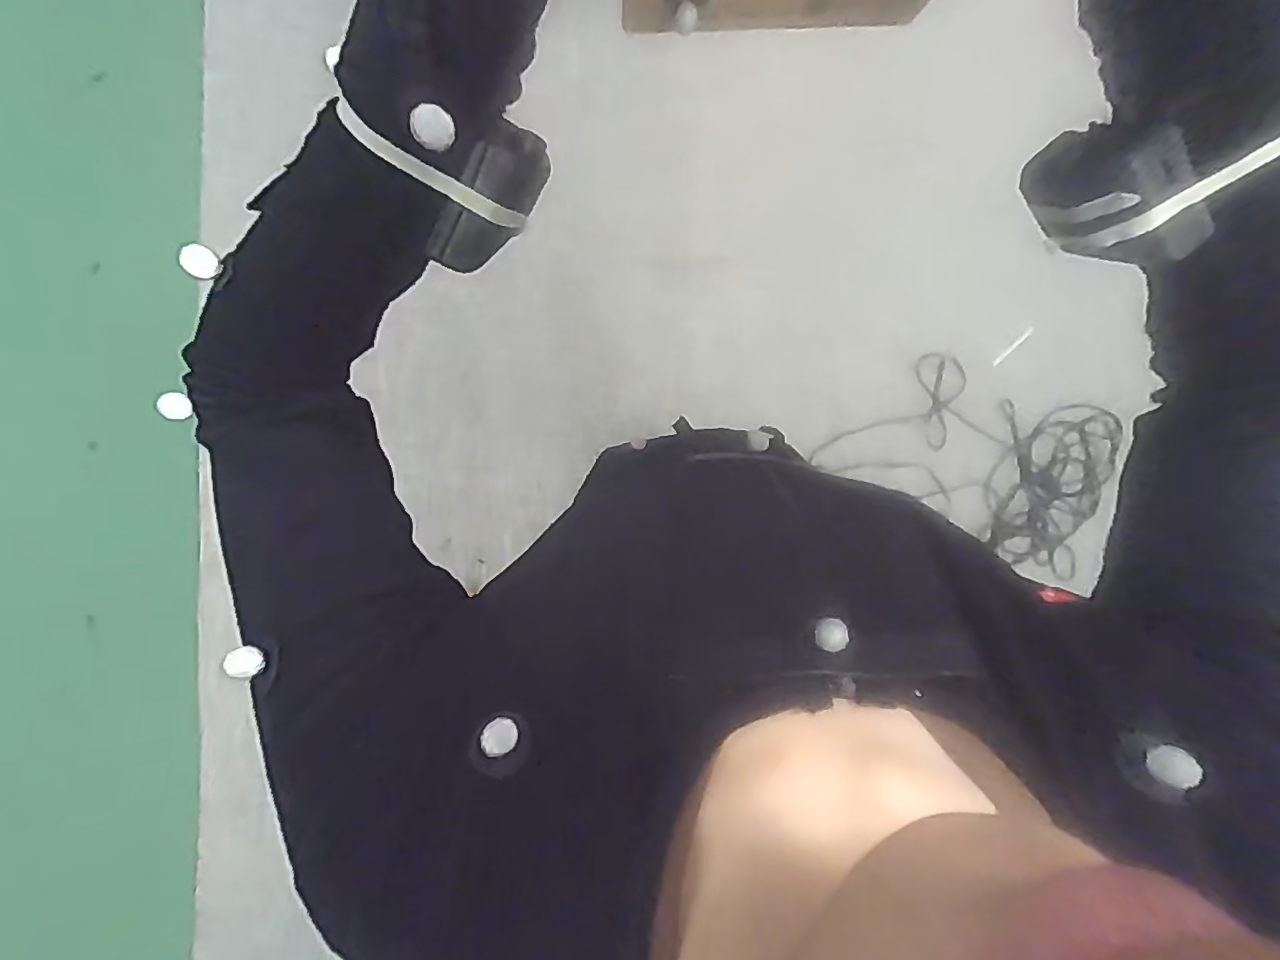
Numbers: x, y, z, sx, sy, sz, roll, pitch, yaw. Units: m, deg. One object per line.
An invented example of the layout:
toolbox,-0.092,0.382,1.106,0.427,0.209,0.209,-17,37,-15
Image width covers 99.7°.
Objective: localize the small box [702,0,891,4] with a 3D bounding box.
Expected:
small box,0.070,-0.328,0.206,0.168,0.176,0.179,-3,100,-1
